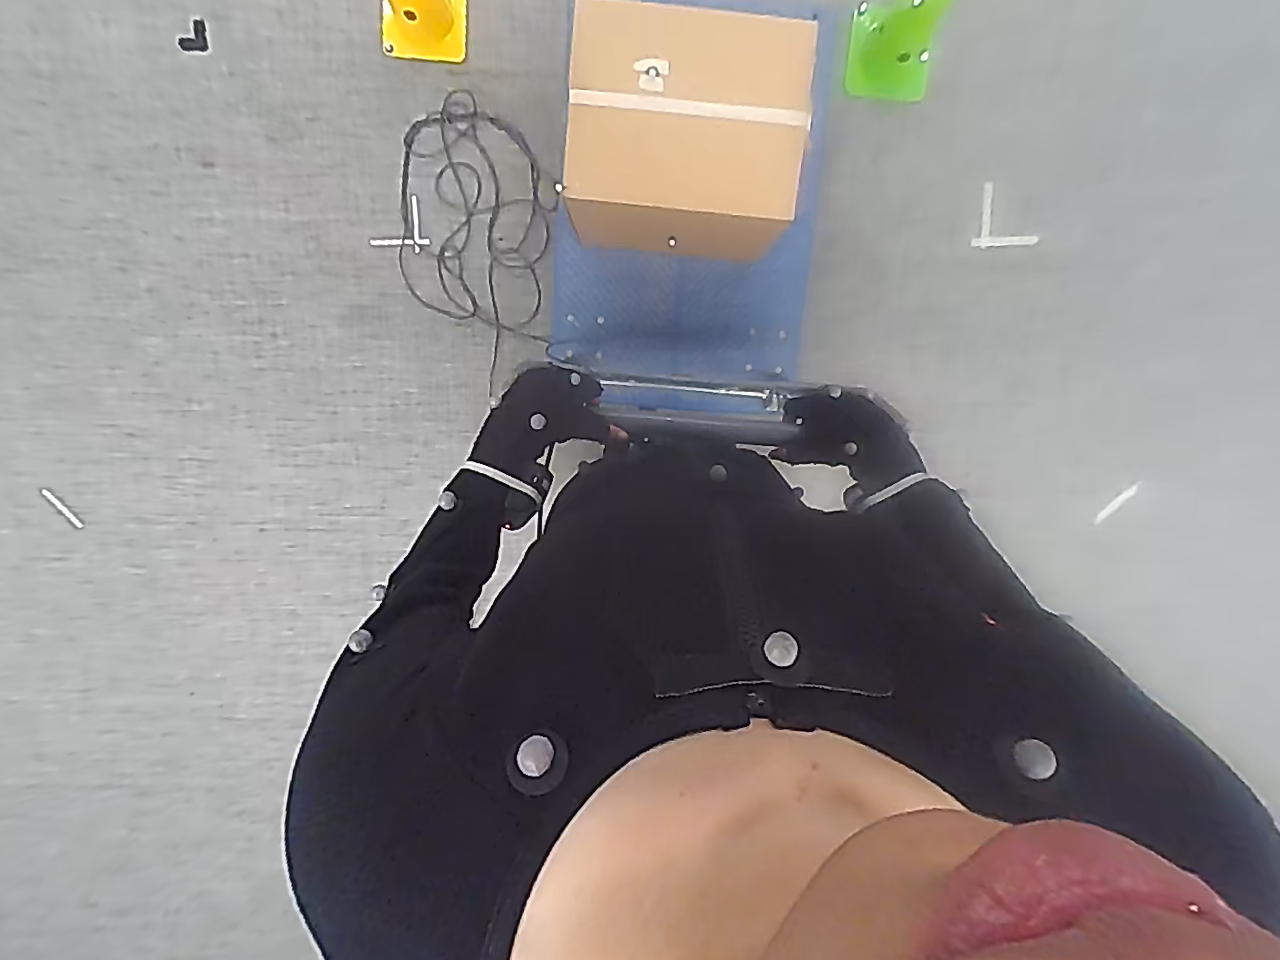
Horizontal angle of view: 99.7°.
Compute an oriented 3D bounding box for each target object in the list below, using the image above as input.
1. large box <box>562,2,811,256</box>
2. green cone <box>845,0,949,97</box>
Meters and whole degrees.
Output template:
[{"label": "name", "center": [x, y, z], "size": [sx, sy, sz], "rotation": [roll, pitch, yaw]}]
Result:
[{"label": "large box", "center": [0.077, -0.646, 1.059], "size": [0.408, 0.320, 0.320], "rotation": [5, 99, 0]}, {"label": "green cone", "center": [0.611, -1.026, 1.152], "size": [0.202, 0.368, 0.200], "rotation": [4, 99, -2]}]
